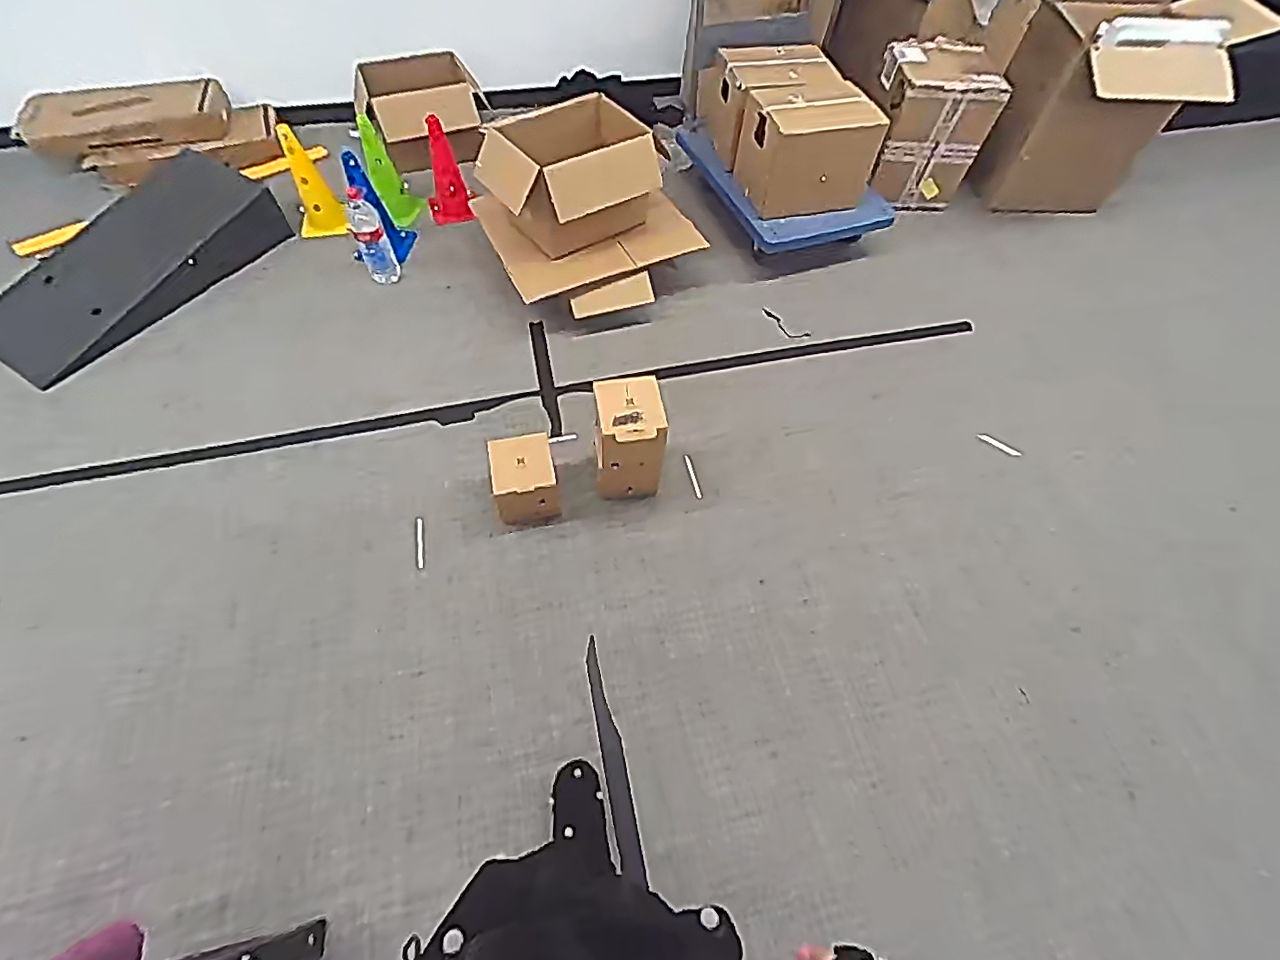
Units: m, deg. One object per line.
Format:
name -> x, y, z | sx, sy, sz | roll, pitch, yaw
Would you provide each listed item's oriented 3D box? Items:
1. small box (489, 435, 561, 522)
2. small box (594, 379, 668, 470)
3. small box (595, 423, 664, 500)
small box -> -0.318, 0.004, 1.508 | 0.168, 0.176, 0.179 | -11, 59, -11
small box -> -0.026, -0.138, 1.416 | 0.168, 0.176, 0.179 | -7, 59, -8
small box -> -0.037, -0.057, 1.559 | 0.179, 0.176, 0.168 | -6, 59, -7
